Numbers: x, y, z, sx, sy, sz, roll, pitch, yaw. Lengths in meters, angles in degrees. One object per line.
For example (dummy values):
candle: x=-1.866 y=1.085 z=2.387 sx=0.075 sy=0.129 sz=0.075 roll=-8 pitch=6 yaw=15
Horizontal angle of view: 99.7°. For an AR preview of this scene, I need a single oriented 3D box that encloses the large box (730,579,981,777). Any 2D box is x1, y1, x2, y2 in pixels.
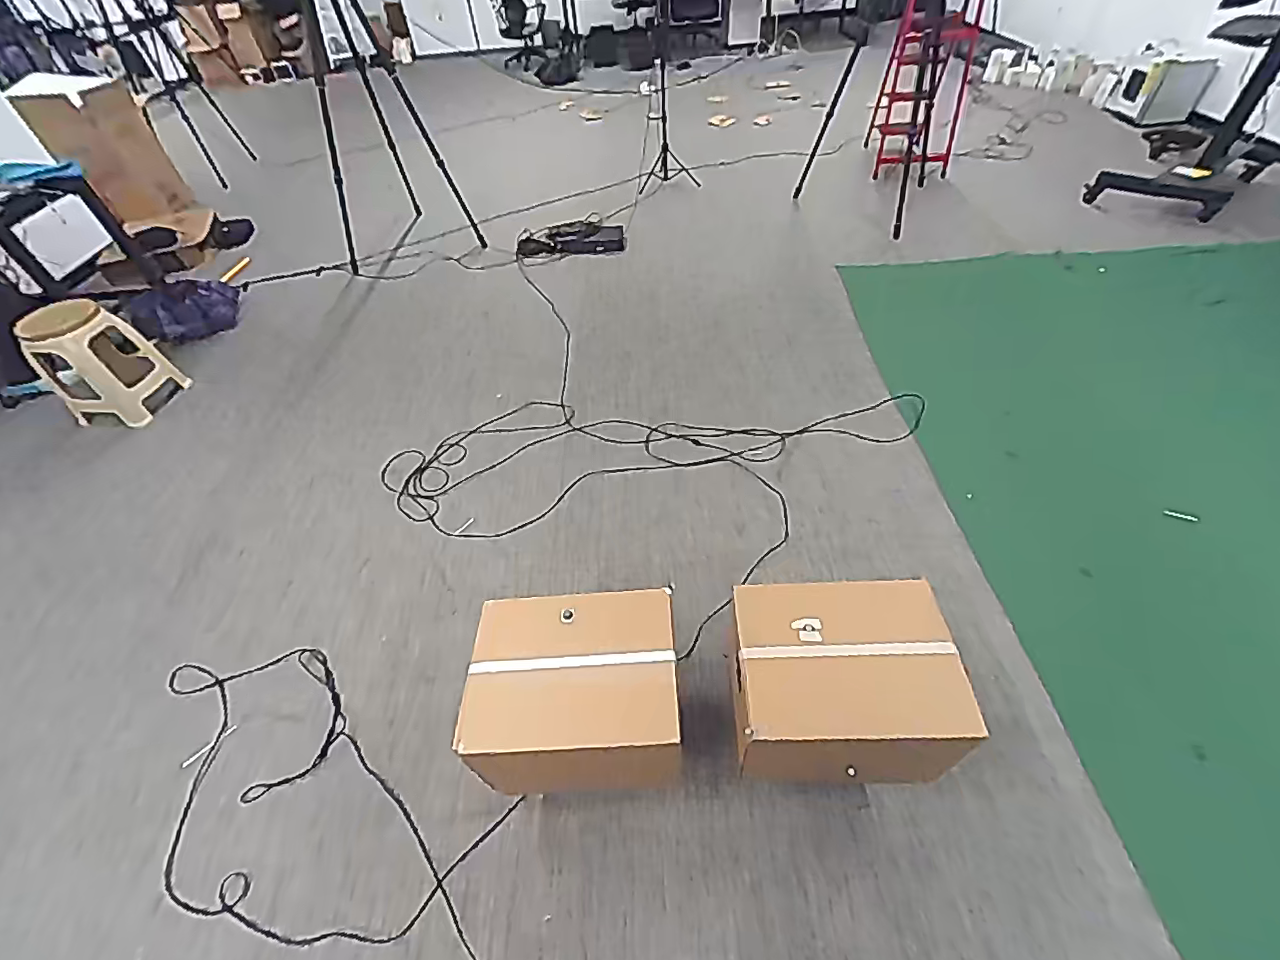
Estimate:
large box: x=0.413 y=0.432 z=1.161 sx=0.408 sy=0.320 sz=0.320 roll=-3 pitch=48 yaw=4
